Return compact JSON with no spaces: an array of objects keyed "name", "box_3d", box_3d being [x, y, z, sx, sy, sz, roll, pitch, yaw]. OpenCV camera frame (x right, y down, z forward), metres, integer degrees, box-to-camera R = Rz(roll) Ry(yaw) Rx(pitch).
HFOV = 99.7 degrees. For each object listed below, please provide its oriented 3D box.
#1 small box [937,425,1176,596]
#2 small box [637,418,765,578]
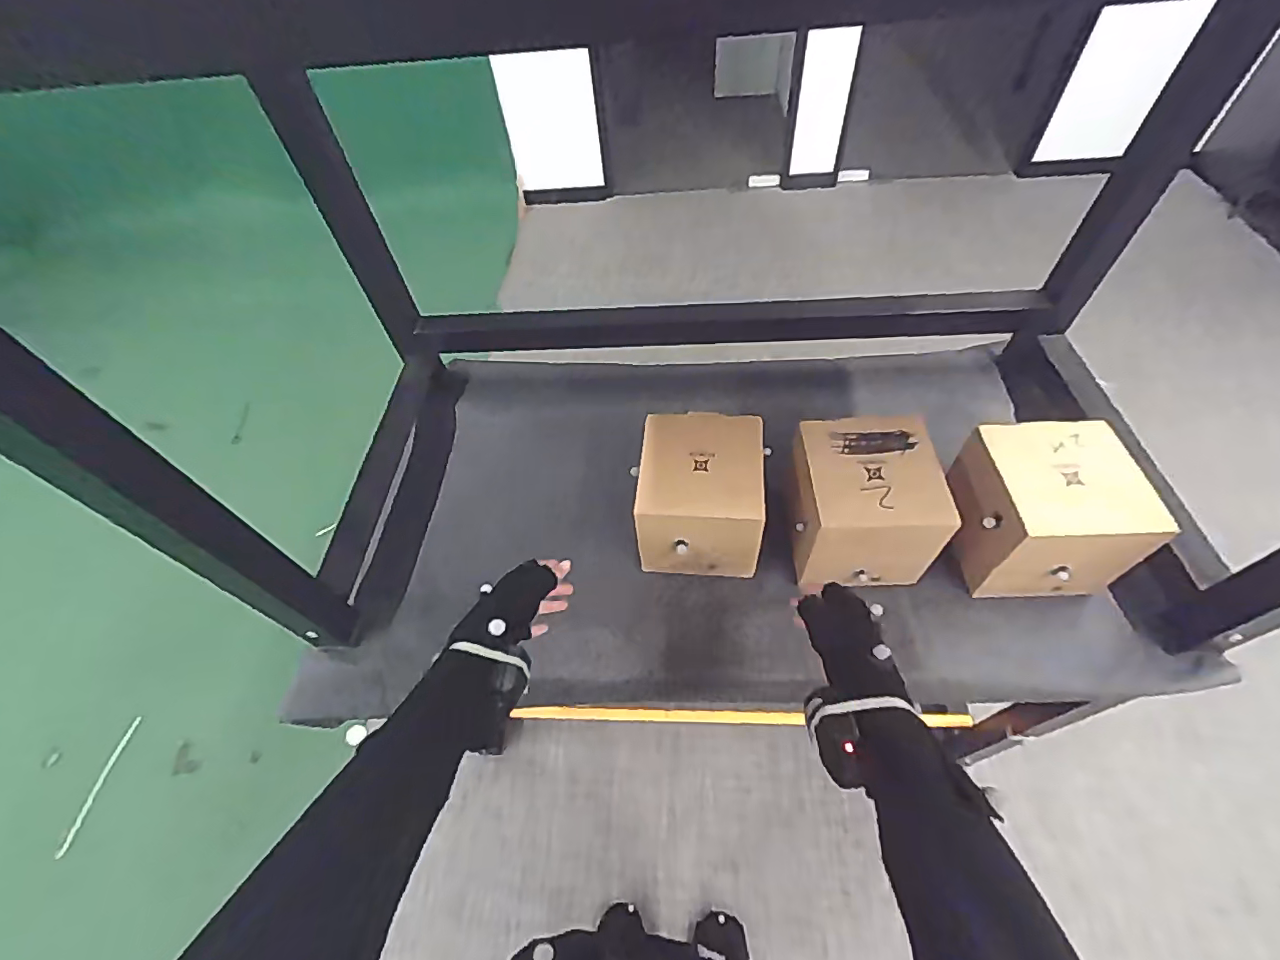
[{"name":"small box","box_3d":[0.536,0.048,0.731,0.168,0.176,0.179,-2,52,4]},{"name":"small box","box_3d":[0.092,0.030,0.790,0.168,0.176,0.179,2,54,7]}]
